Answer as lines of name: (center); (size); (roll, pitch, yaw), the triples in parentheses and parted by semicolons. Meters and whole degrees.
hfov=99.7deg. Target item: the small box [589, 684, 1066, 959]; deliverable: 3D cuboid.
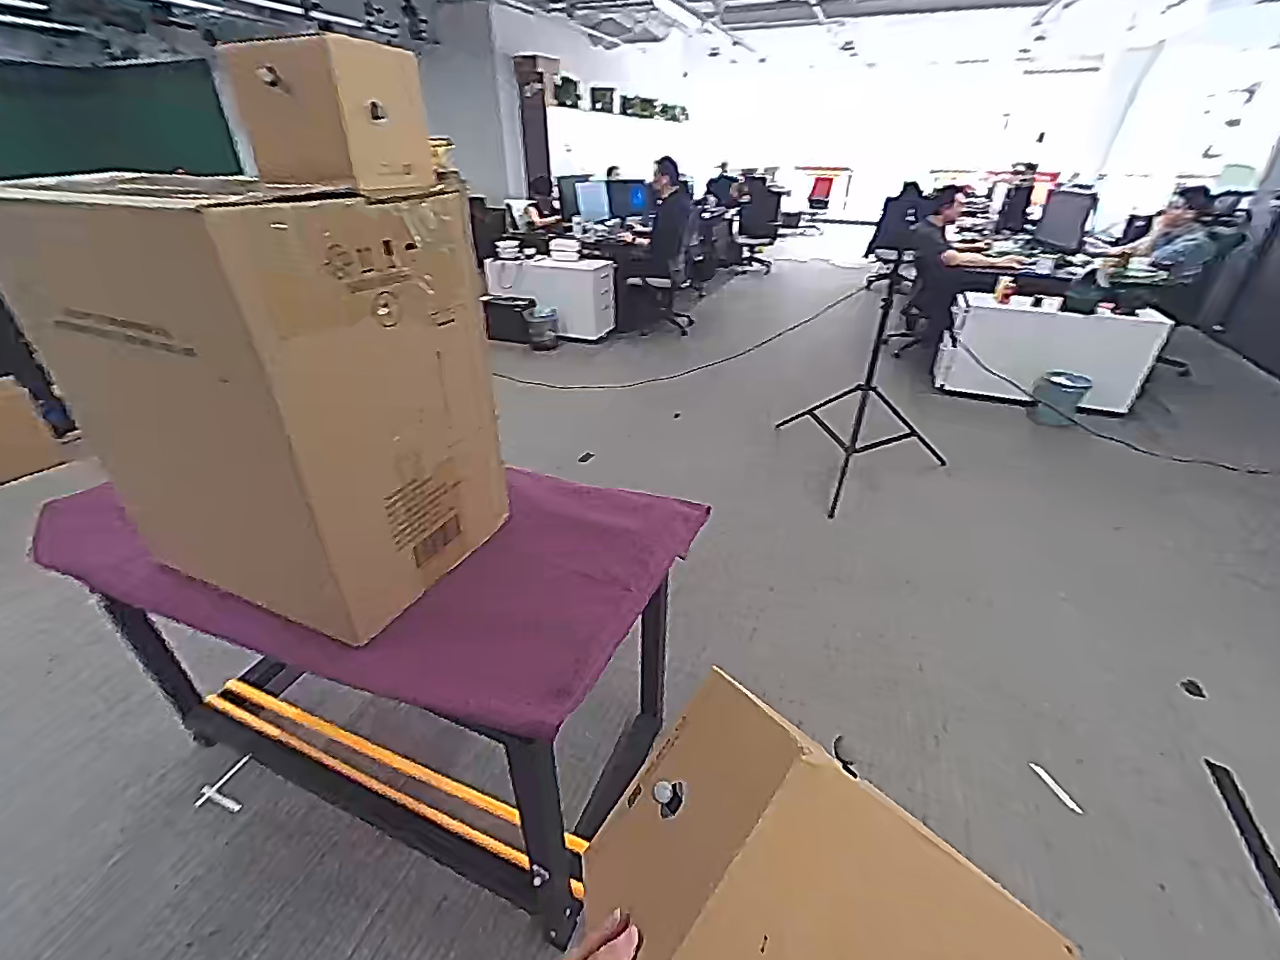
small box: (0.083, 0.248, 0.326); (0.179, 0.176, 0.168); (38, 80, -3)

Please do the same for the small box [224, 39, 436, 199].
small box: (-0.416, -0.497, 0.760); (0.179, 0.176, 0.168); (9, 32, 16)
